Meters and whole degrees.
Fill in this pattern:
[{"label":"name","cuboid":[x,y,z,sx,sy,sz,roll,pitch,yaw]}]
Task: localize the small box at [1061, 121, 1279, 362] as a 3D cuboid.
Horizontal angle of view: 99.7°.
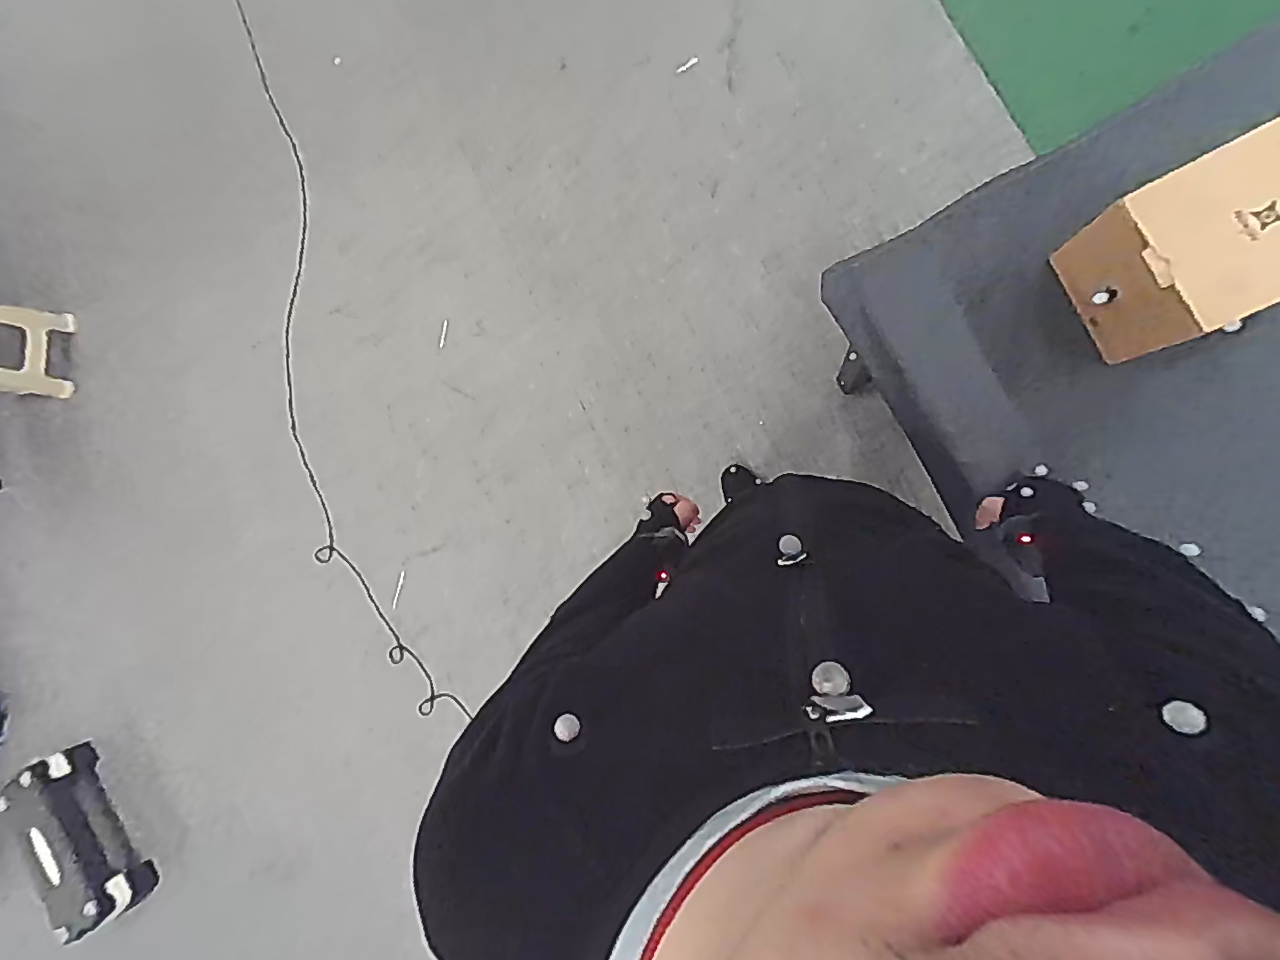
[{"label":"small box","cuboid":[0.628,-0.254,0.615,0.179,0.176,0.168,-26,84,15]}]
